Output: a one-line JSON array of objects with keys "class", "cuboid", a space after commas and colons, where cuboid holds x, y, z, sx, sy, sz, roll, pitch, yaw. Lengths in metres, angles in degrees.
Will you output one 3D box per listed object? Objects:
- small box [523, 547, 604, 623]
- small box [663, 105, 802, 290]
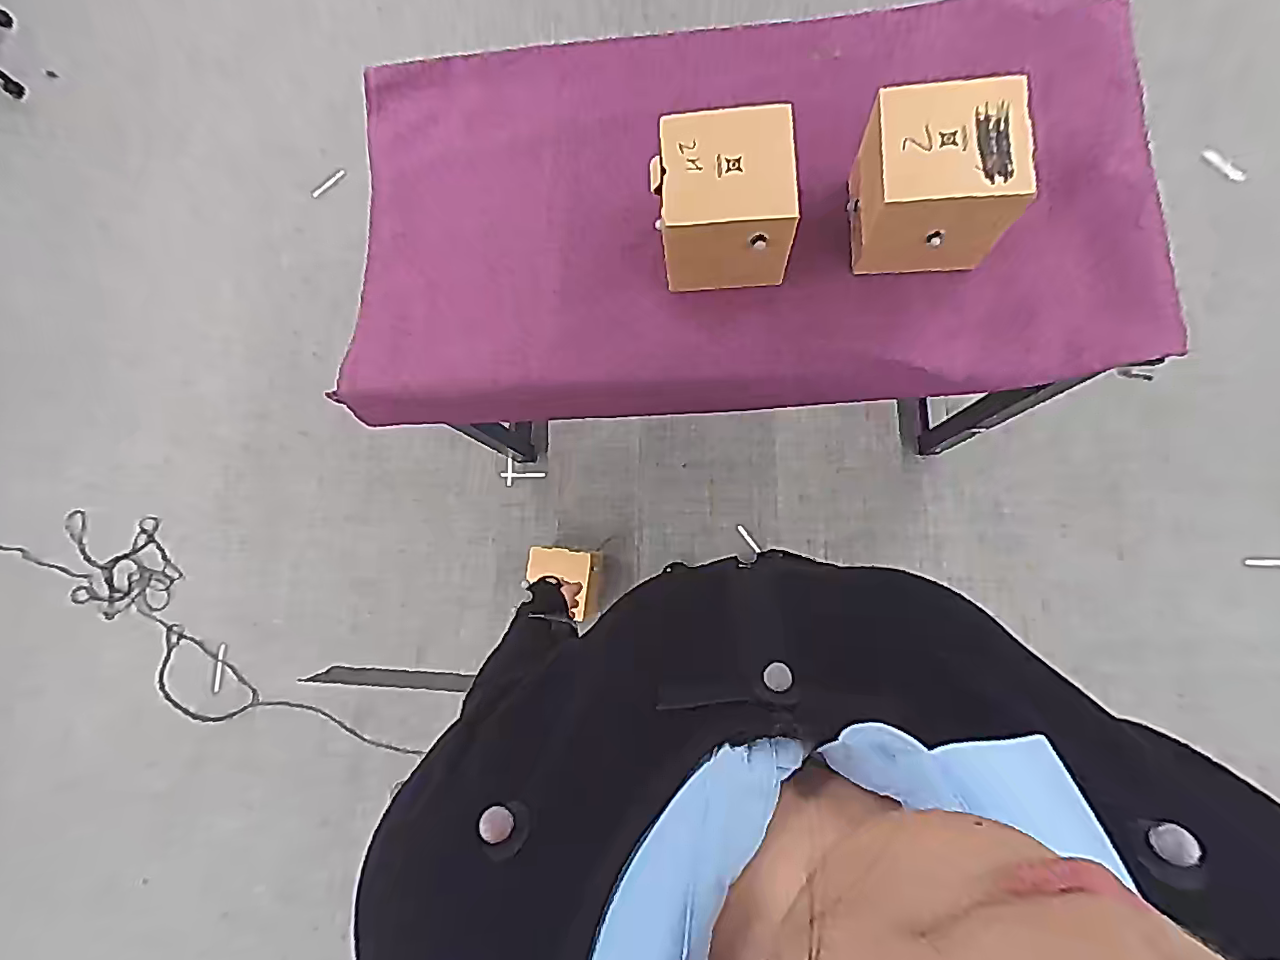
[{"class": "small box", "cuboid": [-0.199, 0.278, 1.460, 0.168, 0.176, 0.179, 6, 82, 8]}, {"class": "small box", "cuboid": [0.126, -0.393, 0.778, 0.179, 0.176, 0.168, -2, 80, 7]}]
